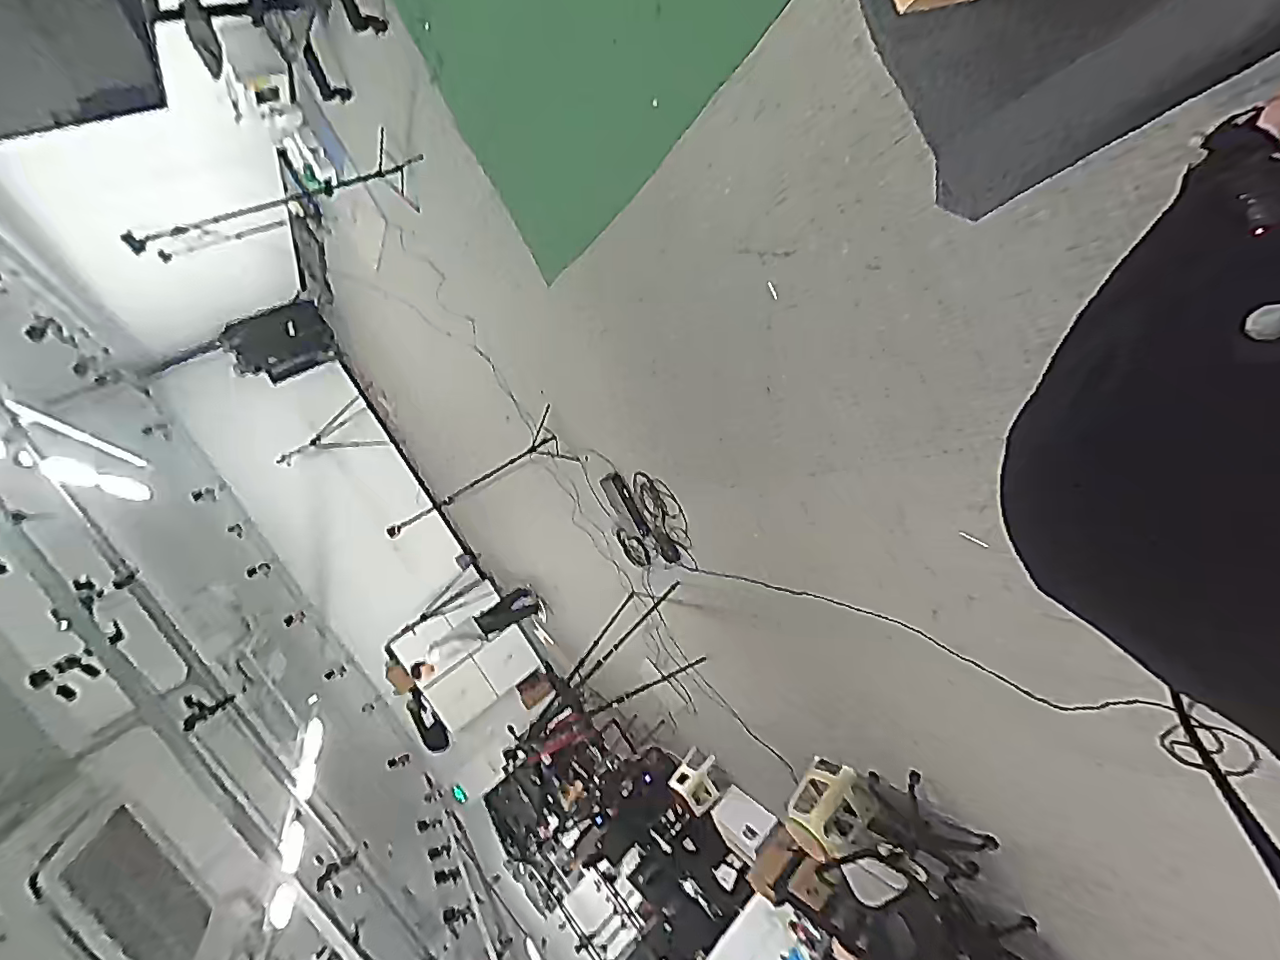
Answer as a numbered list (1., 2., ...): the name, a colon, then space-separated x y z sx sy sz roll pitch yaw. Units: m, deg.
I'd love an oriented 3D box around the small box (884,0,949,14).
1. small box: 0.304 -0.580 0.490 0.179 0.176 0.168 59 153 -7
